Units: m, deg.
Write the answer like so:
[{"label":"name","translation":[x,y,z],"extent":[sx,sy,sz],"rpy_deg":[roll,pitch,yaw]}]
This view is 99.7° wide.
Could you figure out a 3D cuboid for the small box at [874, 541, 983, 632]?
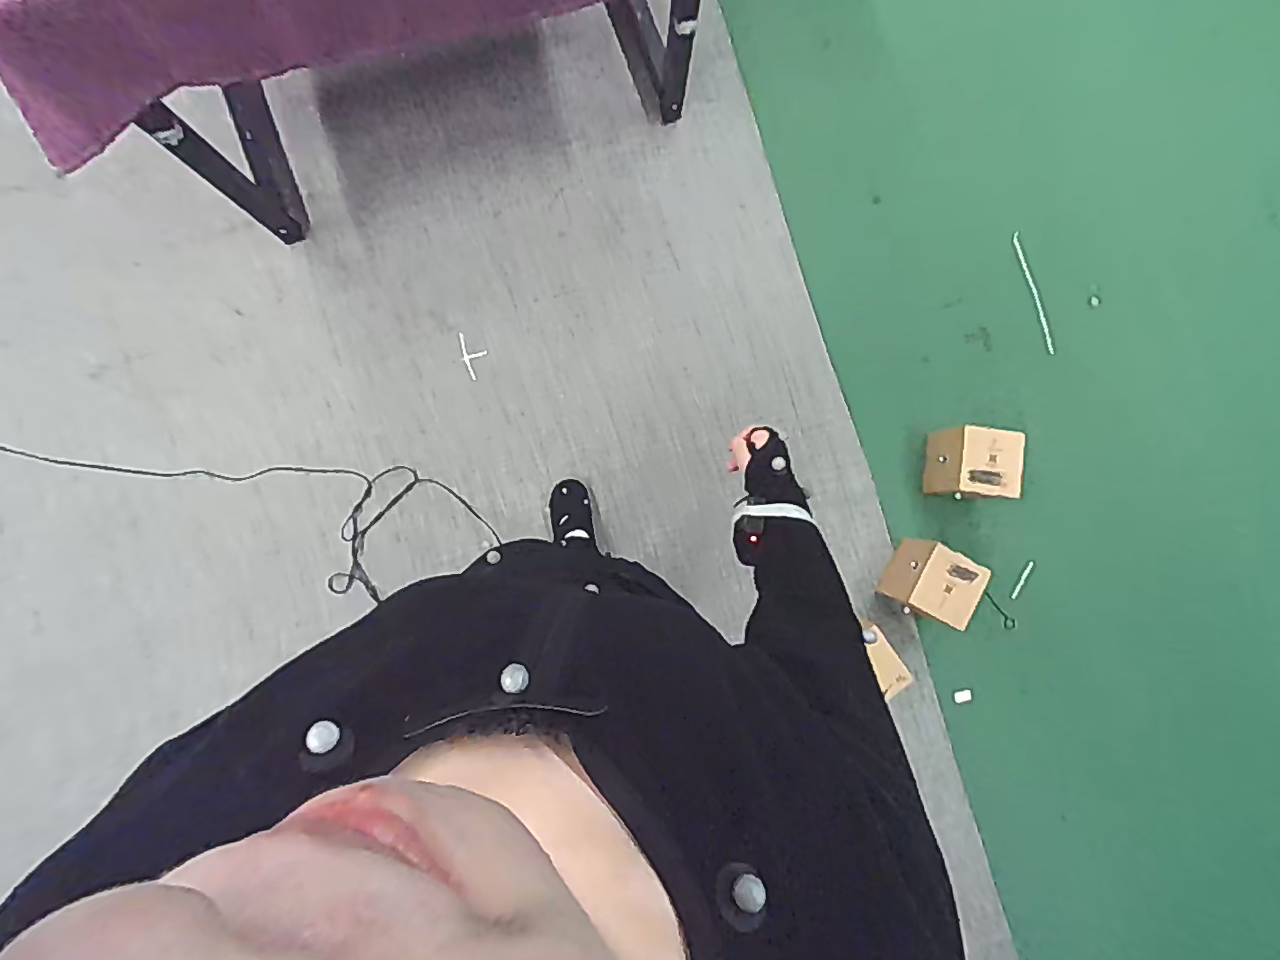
[{"label":"small box","translation":[0.772,0.280,1.469],"extent":[0.168,0.176,0.179],"rpy_deg":[29,87,-2]}]
